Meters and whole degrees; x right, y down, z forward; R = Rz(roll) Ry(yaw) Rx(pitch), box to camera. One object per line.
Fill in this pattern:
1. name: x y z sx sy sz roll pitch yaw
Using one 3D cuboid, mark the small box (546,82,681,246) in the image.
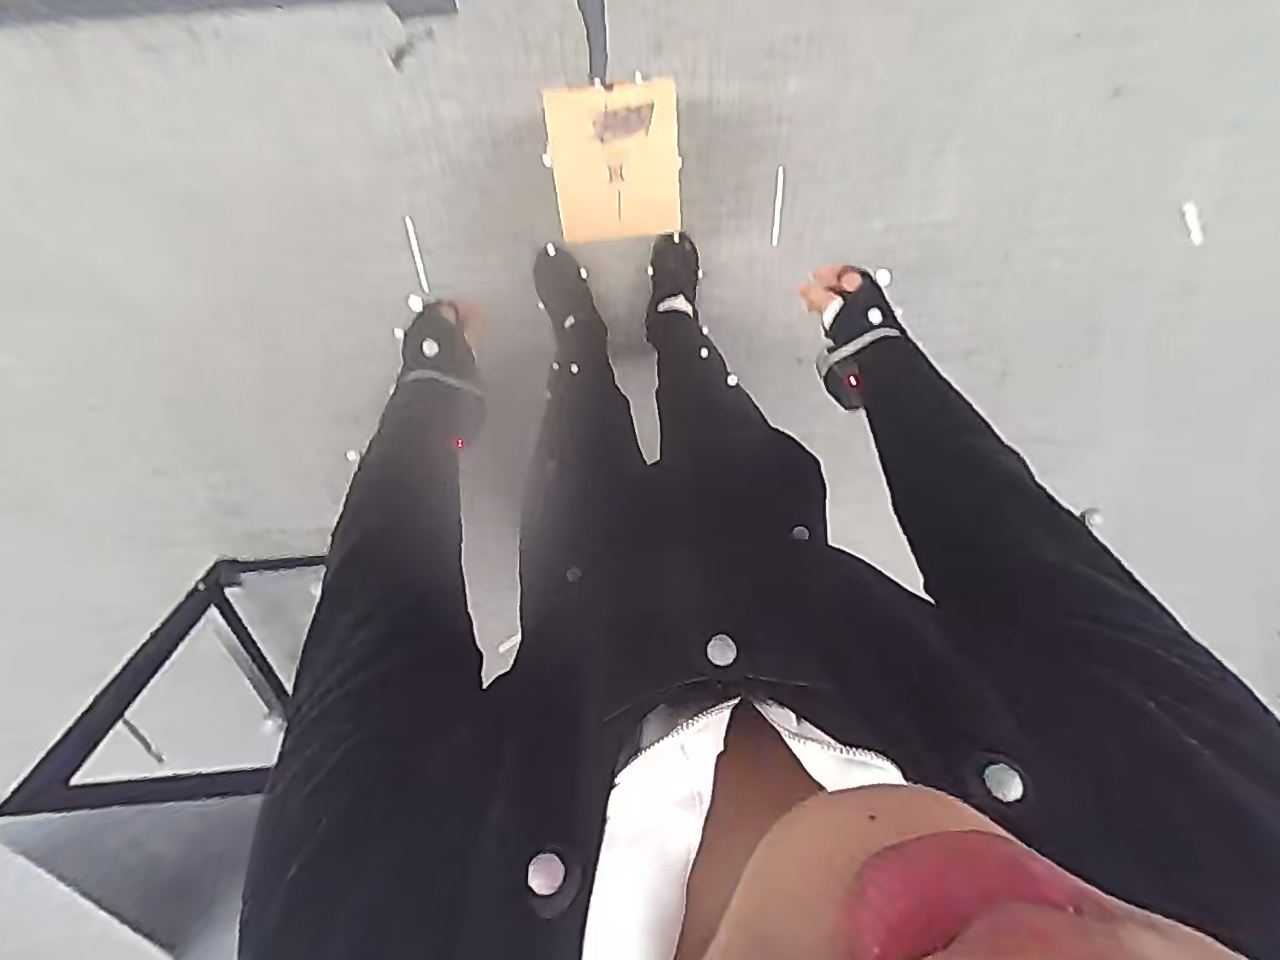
1. small box: -0.038 -0.449 0.774 0.168 0.176 0.179 -7 123 -1
